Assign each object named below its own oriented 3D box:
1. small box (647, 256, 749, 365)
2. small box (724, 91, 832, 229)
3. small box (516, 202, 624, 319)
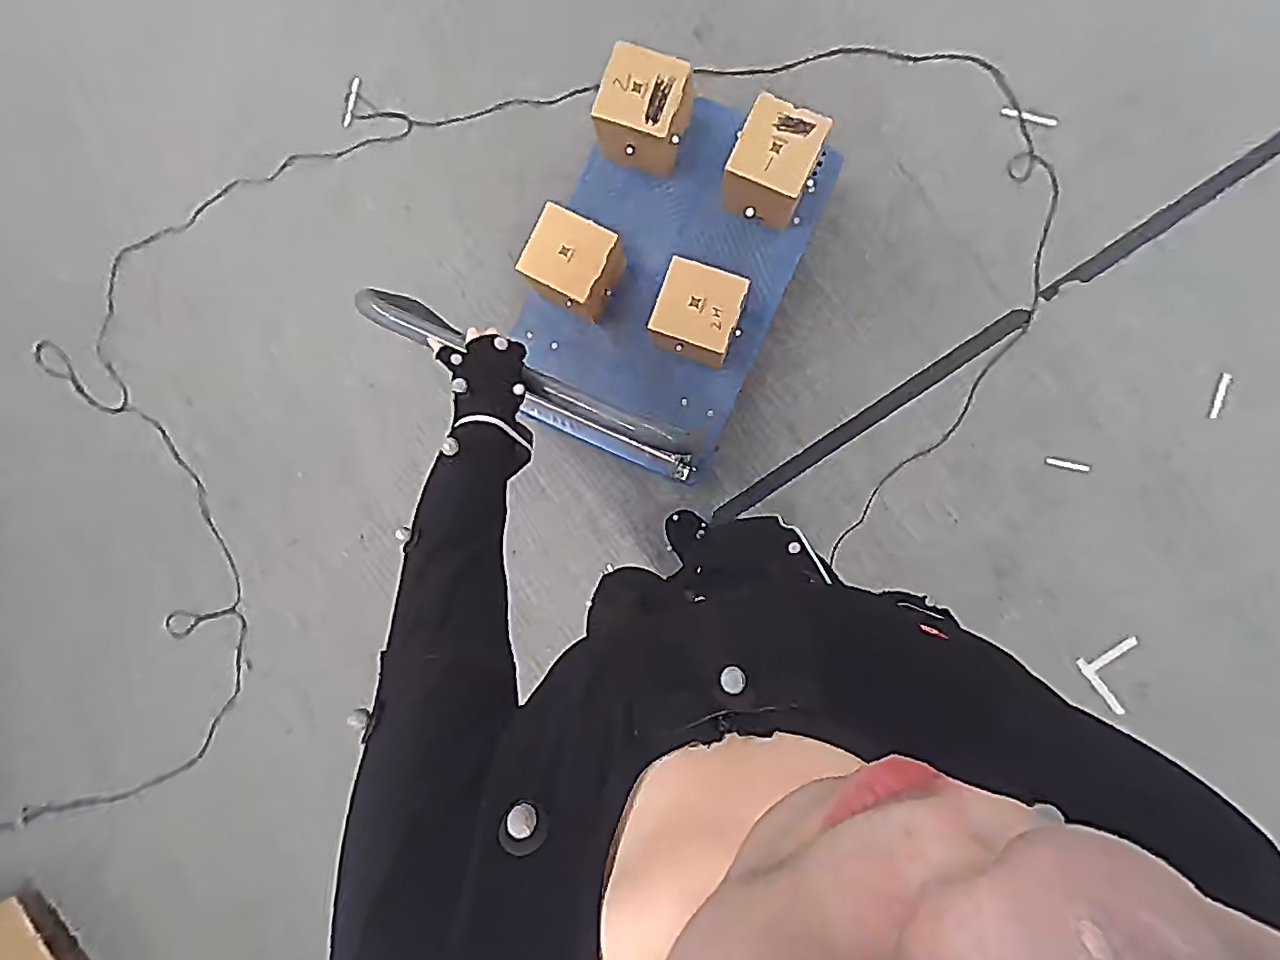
[{"bbox_3d":[0.130,-0.374,1.224,0.179,0.176,0.168,21,93,5],"label":"small box"},{"bbox_3d":[0.295,-0.698,1.200,0.168,0.176,0.179,26,95,5],"label":"small box"},{"bbox_3d":[-0.153,-0.496,1.250,0.179,0.176,0.168,27,93,3],"label":"small box"}]
